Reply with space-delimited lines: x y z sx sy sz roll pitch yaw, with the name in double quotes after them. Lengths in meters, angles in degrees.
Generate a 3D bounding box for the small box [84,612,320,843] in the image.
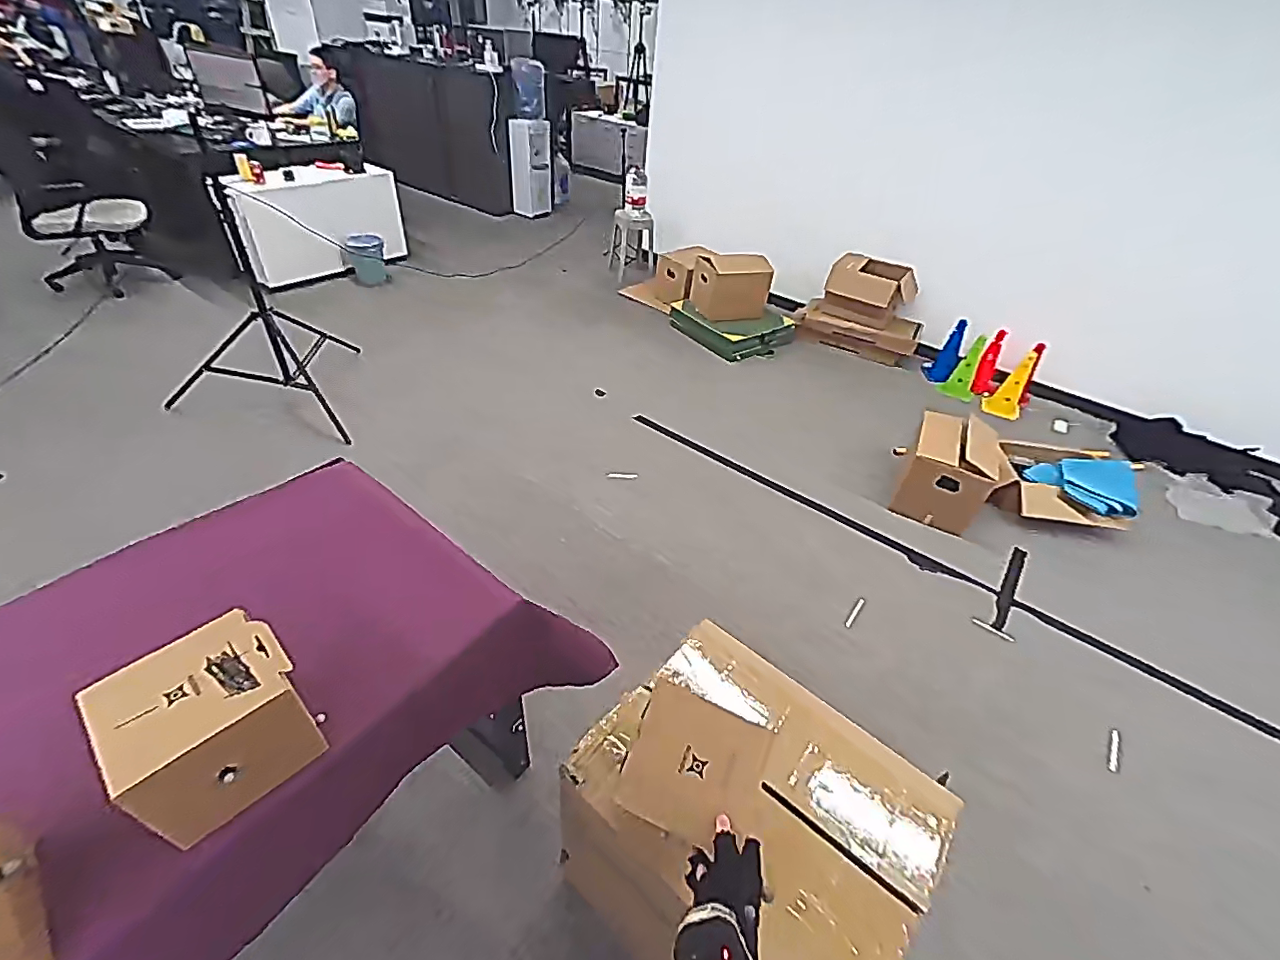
-0.543 0.314 0.697 0.168 0.176 0.179 33 48 30 "small box"

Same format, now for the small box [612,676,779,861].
0.076 0.409 0.777 0.179 0.176 0.168 22 64 12 "small box"
